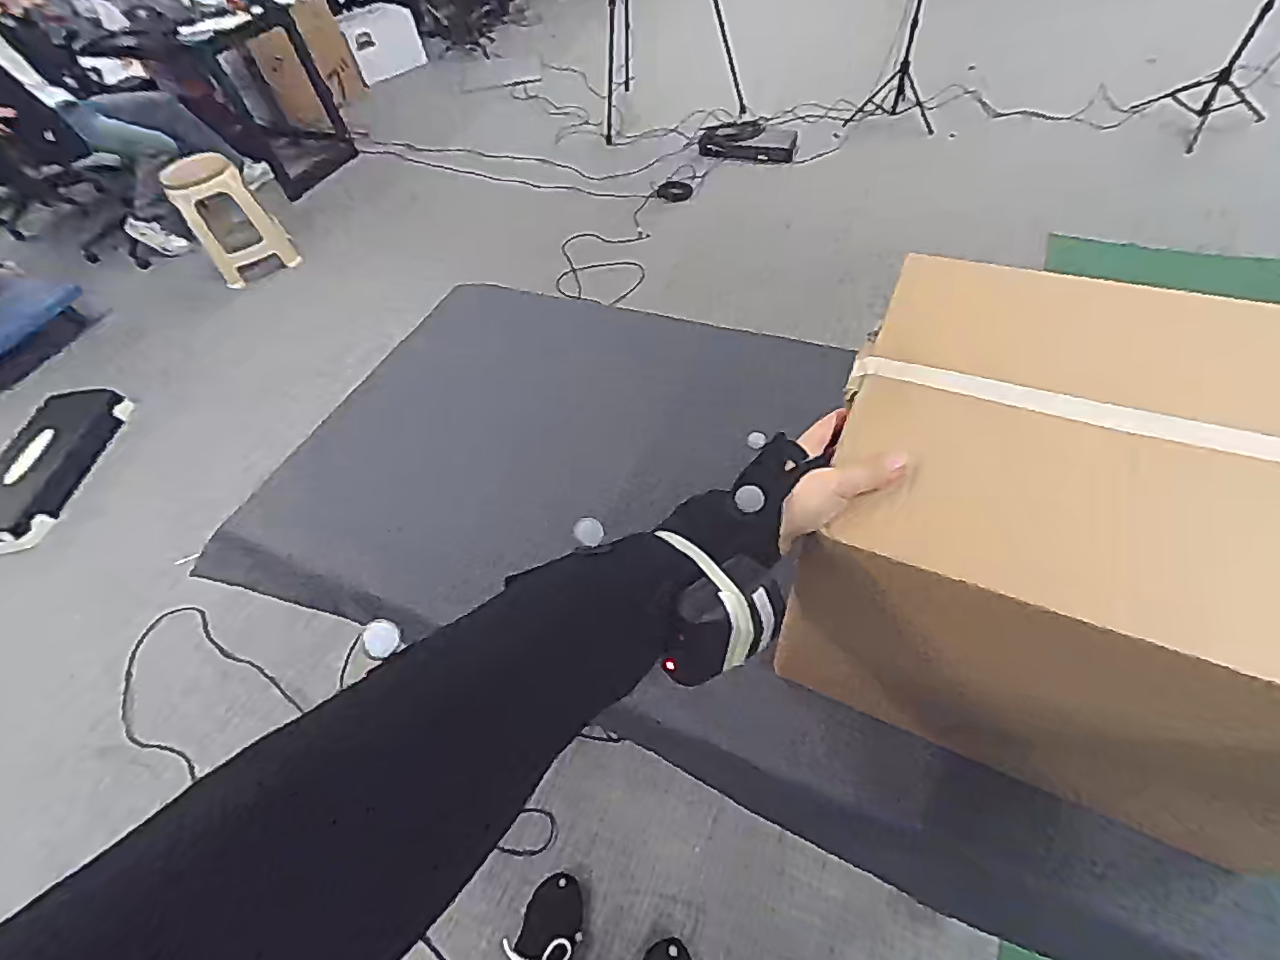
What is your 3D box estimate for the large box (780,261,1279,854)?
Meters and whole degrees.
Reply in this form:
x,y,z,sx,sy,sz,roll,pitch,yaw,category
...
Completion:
x,y,z,sx,sy,sz,roll,pitch,yaw,category
0.373,0.059,0.472,0.408,0.320,0.320,19,60,19,large box
